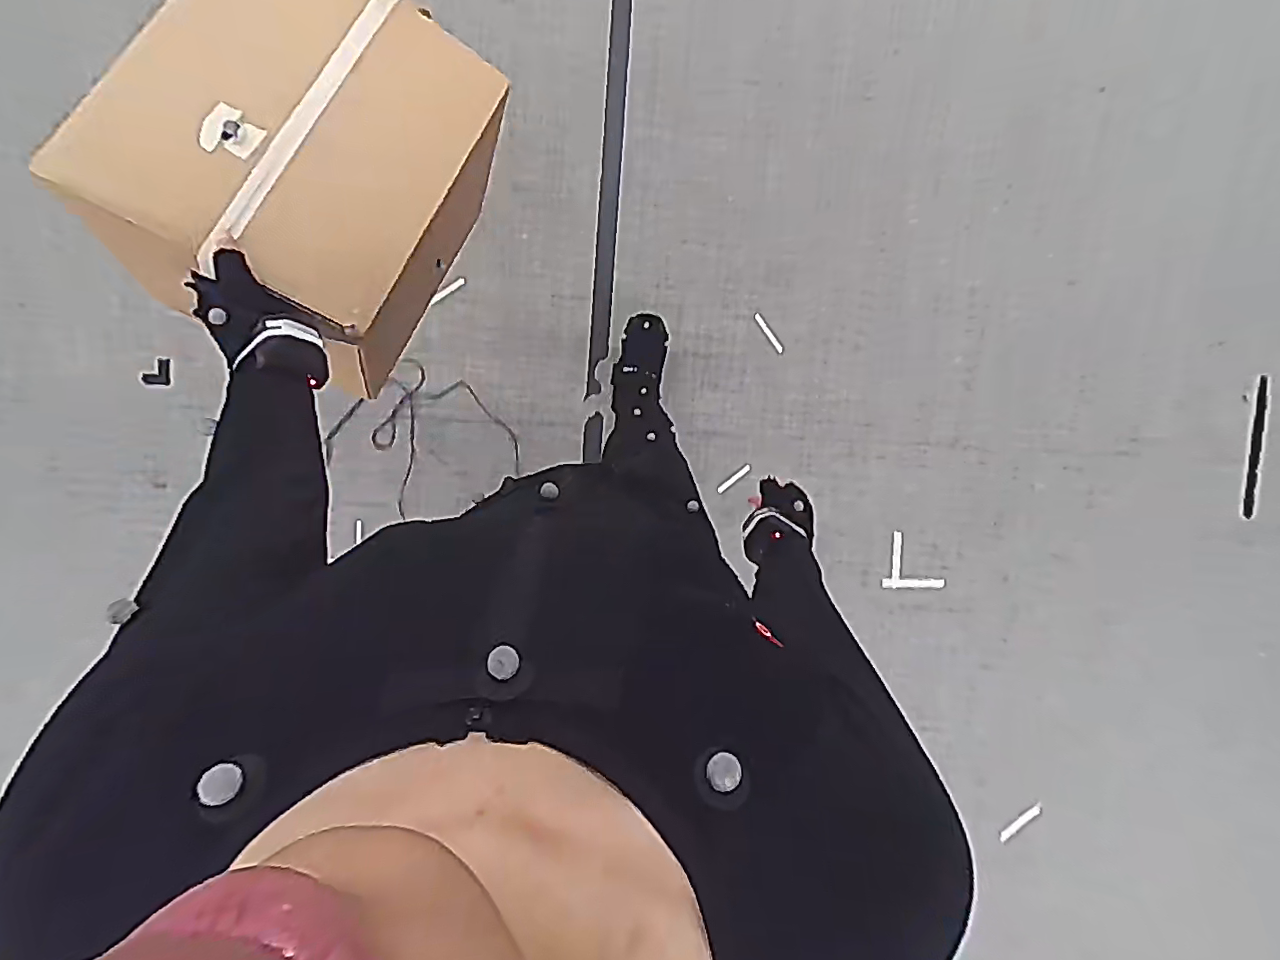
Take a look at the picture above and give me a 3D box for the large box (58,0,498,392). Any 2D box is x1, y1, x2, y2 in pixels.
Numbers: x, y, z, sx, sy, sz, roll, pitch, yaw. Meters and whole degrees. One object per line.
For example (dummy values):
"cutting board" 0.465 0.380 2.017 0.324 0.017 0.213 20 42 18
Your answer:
"large box" -0.440 -0.396 0.762 0.320 0.320 0.408 25 76 -18
